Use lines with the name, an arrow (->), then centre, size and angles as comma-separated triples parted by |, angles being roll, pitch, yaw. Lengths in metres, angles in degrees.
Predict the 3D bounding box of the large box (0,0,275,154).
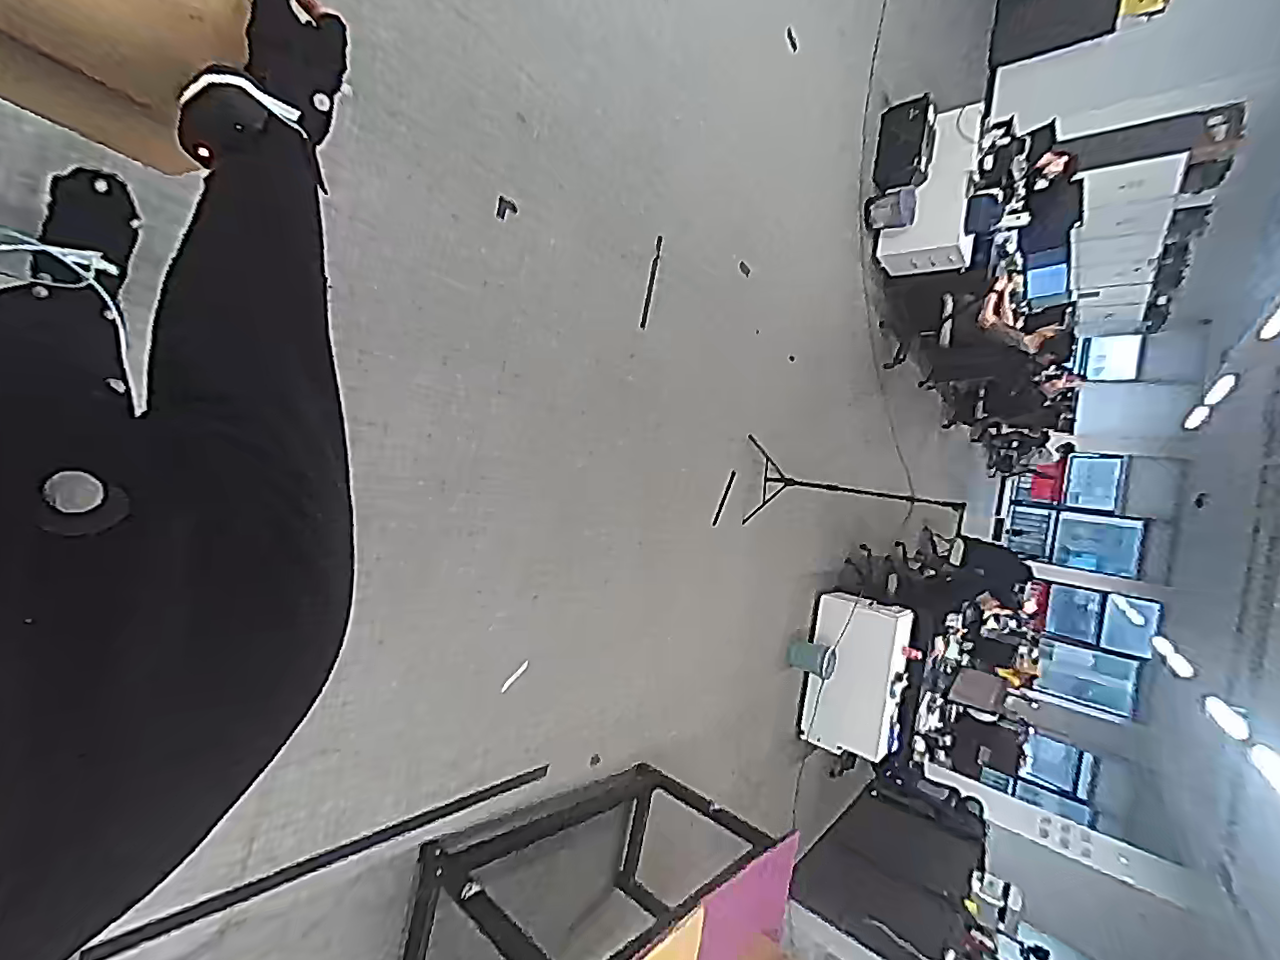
large box -> -0.543, -0.518, 0.411 | 0.408, 0.320, 0.320 | 13, 96, -53
